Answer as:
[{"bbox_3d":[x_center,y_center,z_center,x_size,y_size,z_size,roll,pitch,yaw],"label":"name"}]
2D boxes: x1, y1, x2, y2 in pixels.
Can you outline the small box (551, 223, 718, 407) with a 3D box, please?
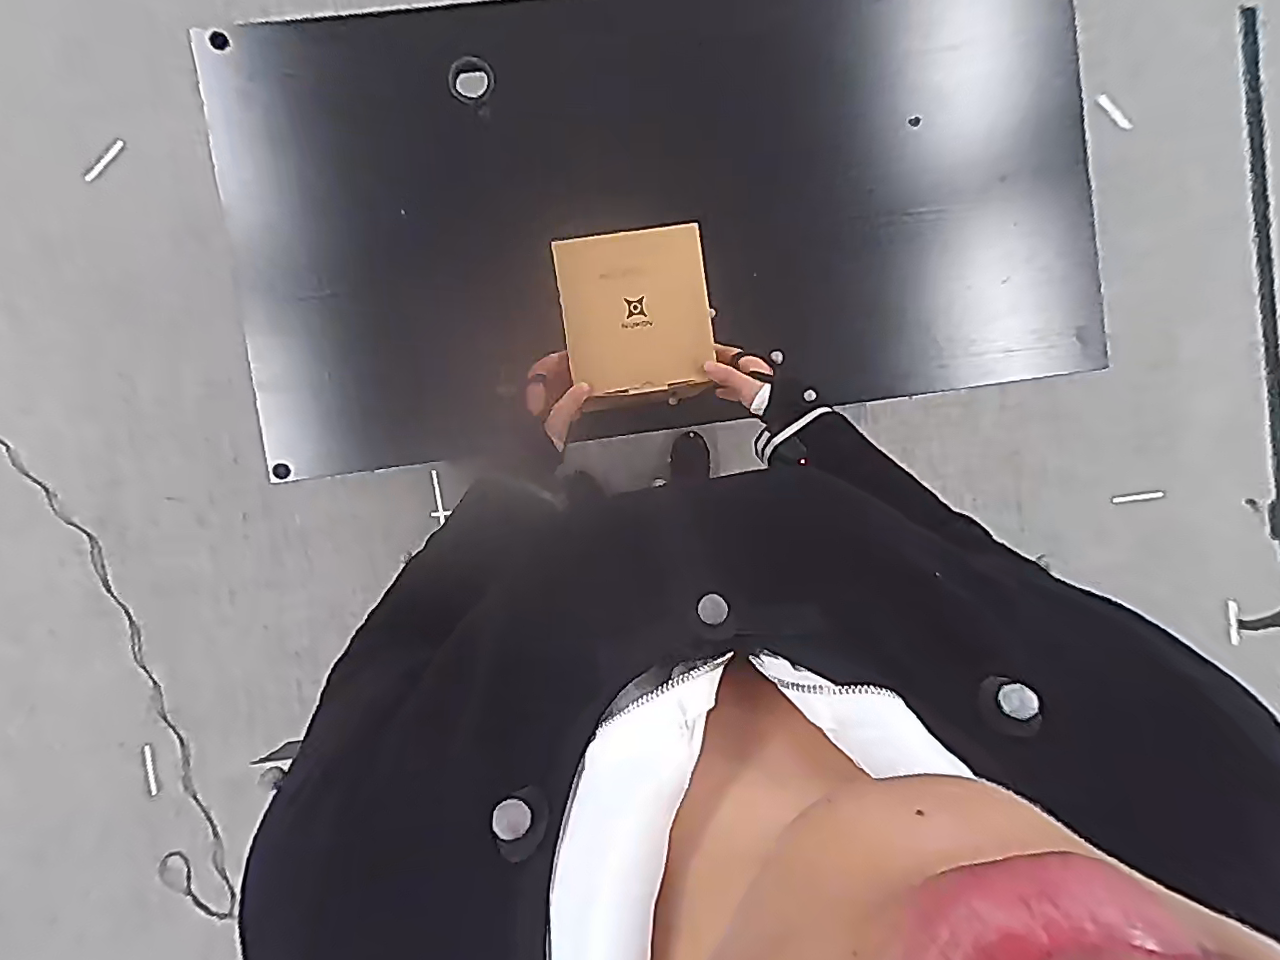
[{"bbox_3d":[-0.009,-0.188,0.672,0.168,0.176,0.179,-9,93,-4],"label":"small box"}]
